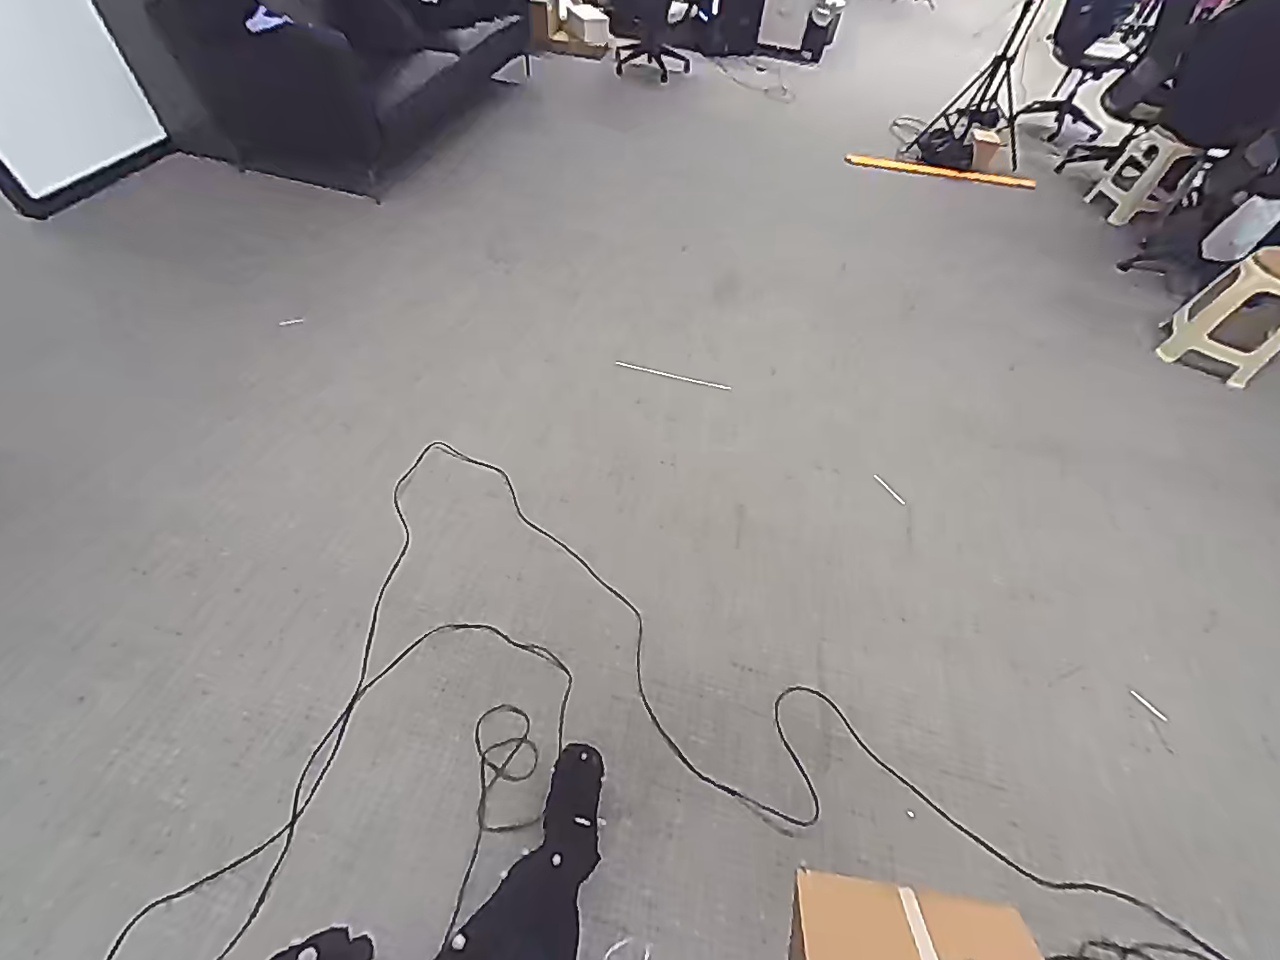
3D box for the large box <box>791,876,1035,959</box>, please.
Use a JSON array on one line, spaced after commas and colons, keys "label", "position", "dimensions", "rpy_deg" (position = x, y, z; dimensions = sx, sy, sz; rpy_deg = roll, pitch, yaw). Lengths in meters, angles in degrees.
[{"label": "large box", "position": [0.355, 0.800, 0.646], "dimensions": [0.320, 0.320, 0.408], "rpy_deg": [4, 9, 10]}]
